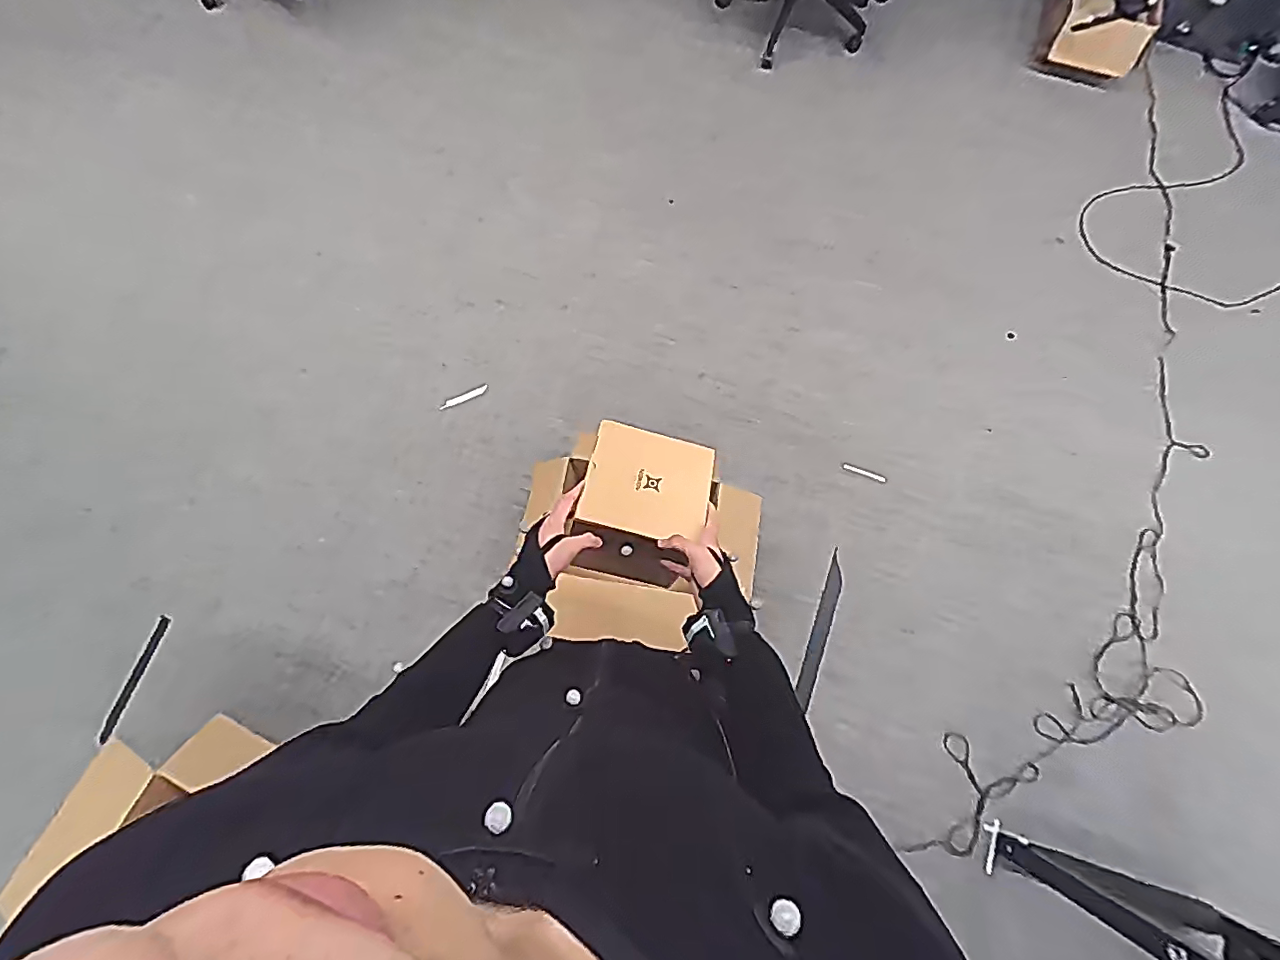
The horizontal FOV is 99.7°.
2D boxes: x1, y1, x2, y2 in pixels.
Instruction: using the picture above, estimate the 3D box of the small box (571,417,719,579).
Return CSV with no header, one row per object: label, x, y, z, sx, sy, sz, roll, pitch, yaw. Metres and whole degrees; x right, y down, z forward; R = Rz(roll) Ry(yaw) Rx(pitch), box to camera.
small box,0.003,0.036,0.805,0.179,0.176,0.168,14,59,-4
